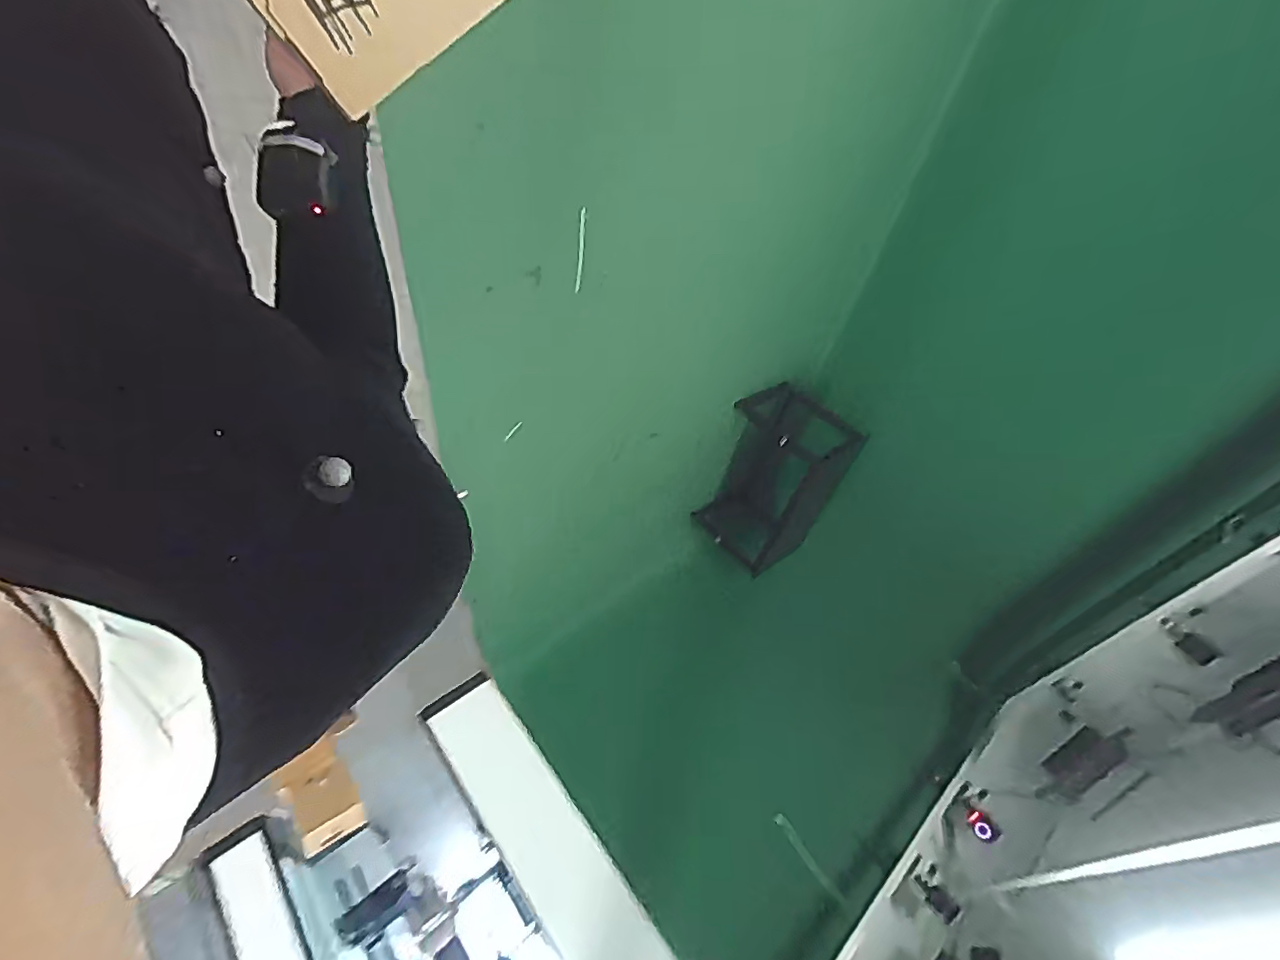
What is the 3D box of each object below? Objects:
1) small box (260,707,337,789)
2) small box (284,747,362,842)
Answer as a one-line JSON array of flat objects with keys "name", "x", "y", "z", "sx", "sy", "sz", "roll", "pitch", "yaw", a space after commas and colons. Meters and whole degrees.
[{"name": "small box", "x": -1.103, "y": 0.880, "z": 1.768, "sx": 0.168, "sy": 0.176, "sz": 0.179, "roll": -27, "pitch": 147, "yaw": -33}, {"name": "small box", "x": -0.994, "y": 0.982, "z": 1.699, "sx": 0.168, "sy": 0.176, "sz": 0.179, "roll": -20, "pitch": 142, "yaw": -41}]
